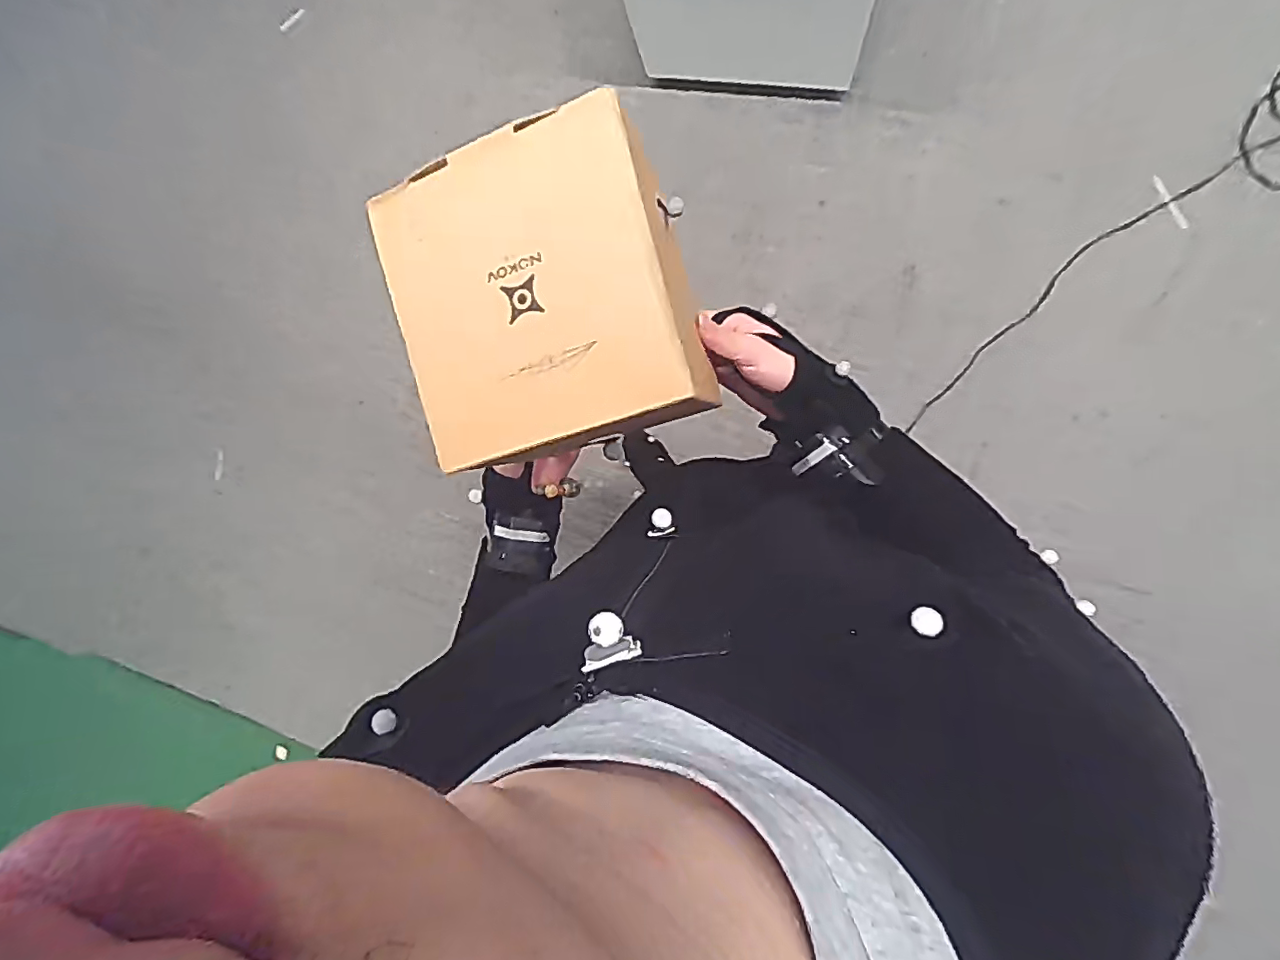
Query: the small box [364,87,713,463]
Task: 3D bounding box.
[{"bbox_3d":[-0.052,-0.119,0.390,0.168,0.176,0.179,-14,93,16],"label":"small box"}]
